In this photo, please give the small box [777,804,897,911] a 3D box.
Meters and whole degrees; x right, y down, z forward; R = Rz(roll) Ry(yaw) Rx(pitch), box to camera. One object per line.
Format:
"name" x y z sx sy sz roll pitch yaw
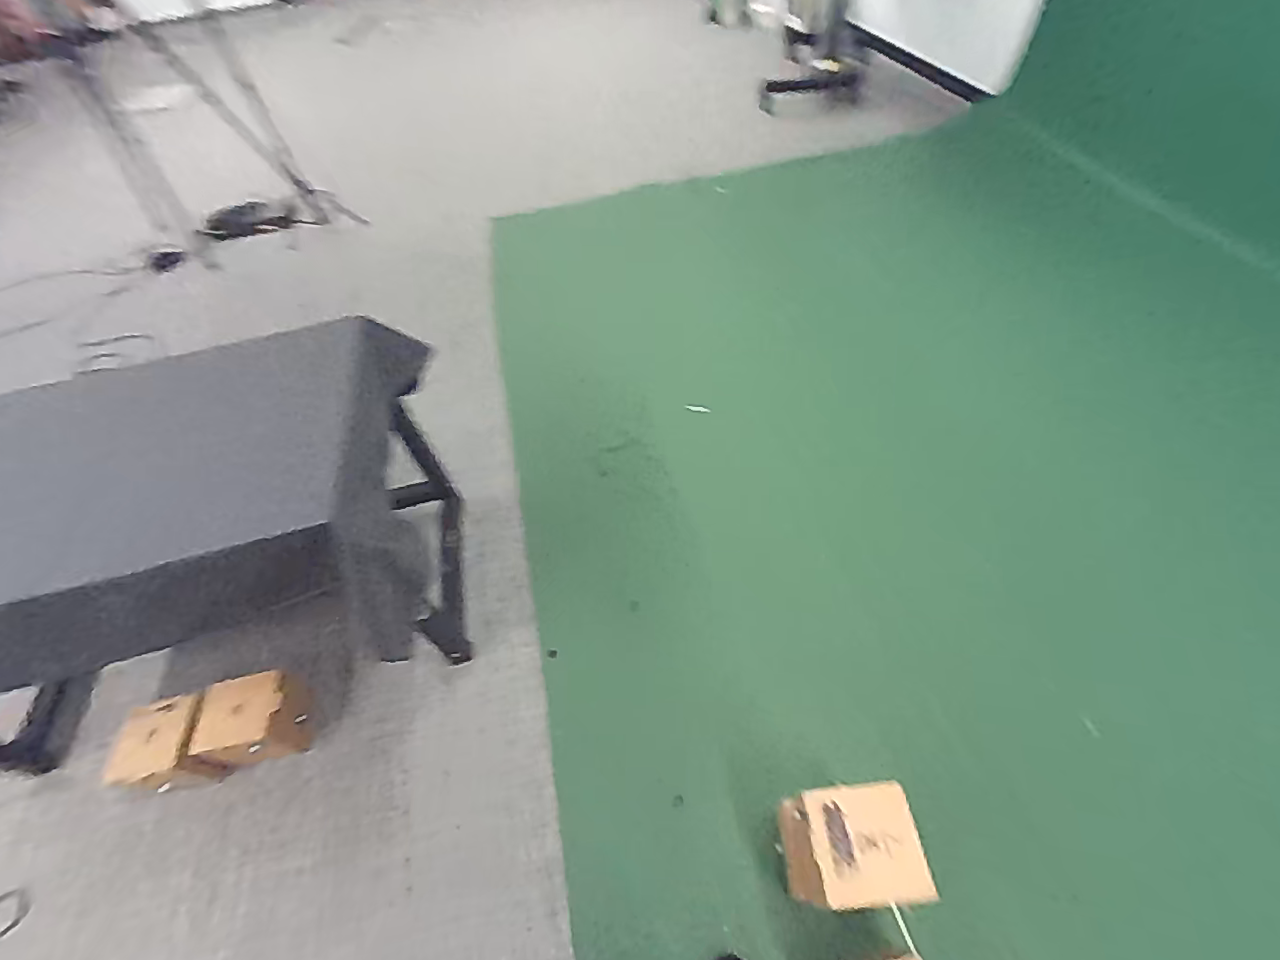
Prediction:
"small box" 0.383 0.758 1.087 0.179 0.176 0.168 -5 51 3
